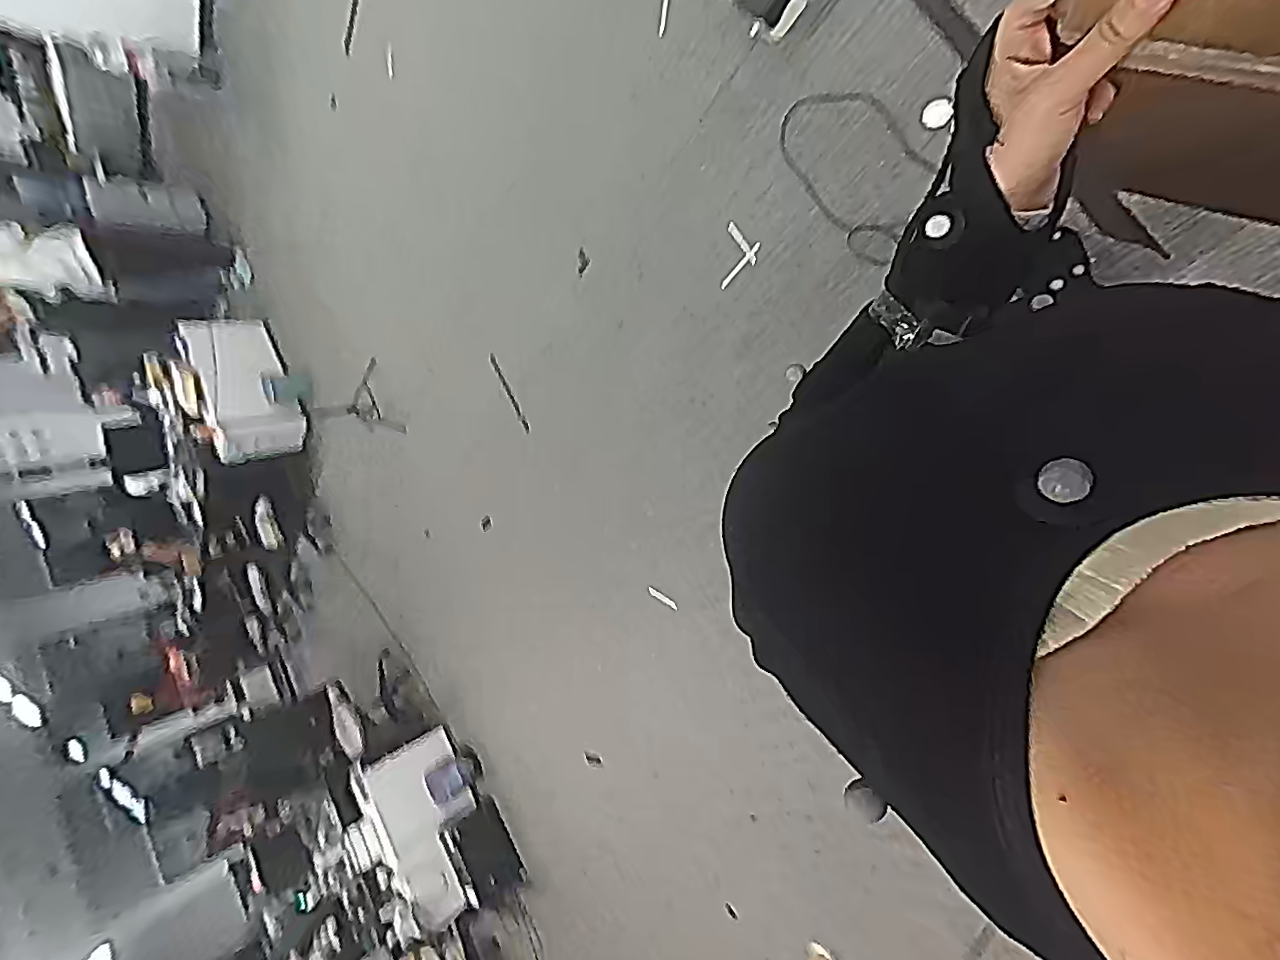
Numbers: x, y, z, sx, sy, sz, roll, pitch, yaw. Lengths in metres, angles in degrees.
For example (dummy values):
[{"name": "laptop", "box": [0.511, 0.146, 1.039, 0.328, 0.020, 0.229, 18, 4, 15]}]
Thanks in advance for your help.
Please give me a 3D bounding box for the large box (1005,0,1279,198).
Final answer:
[{"name": "large box", "box": [0.407, -0.285, 0.152, 0.408, 0.320, 0.320, 26, 108, 23]}]
